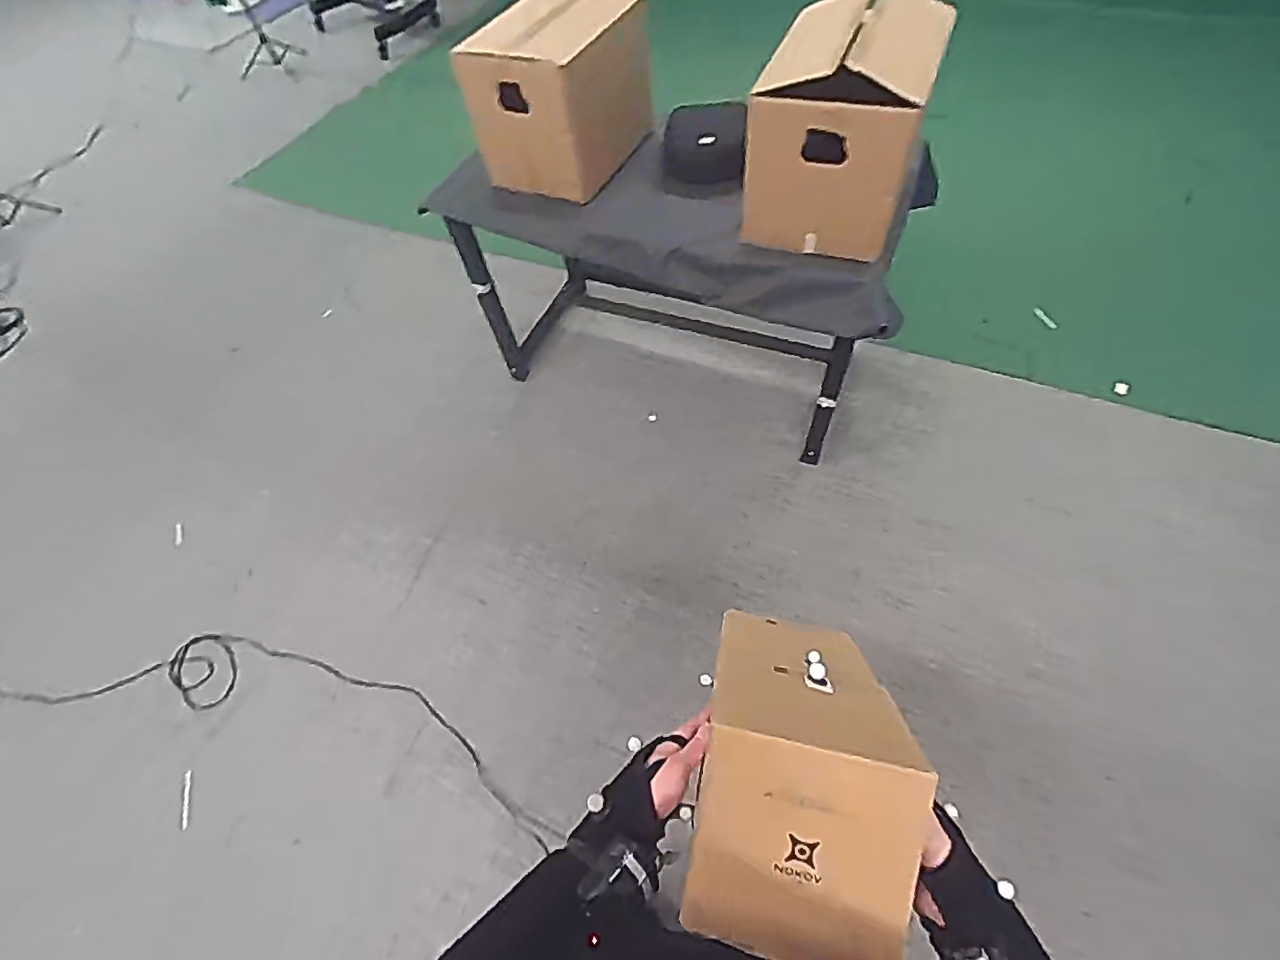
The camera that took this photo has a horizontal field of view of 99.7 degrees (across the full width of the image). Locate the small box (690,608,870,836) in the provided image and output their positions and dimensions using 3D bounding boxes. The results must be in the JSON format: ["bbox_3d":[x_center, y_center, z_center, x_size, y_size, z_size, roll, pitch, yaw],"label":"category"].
[{"bbox_3d":[0.163,0.278,0.661,0.168,0.176,0.179,10,95,10],"label":"small box"}]
